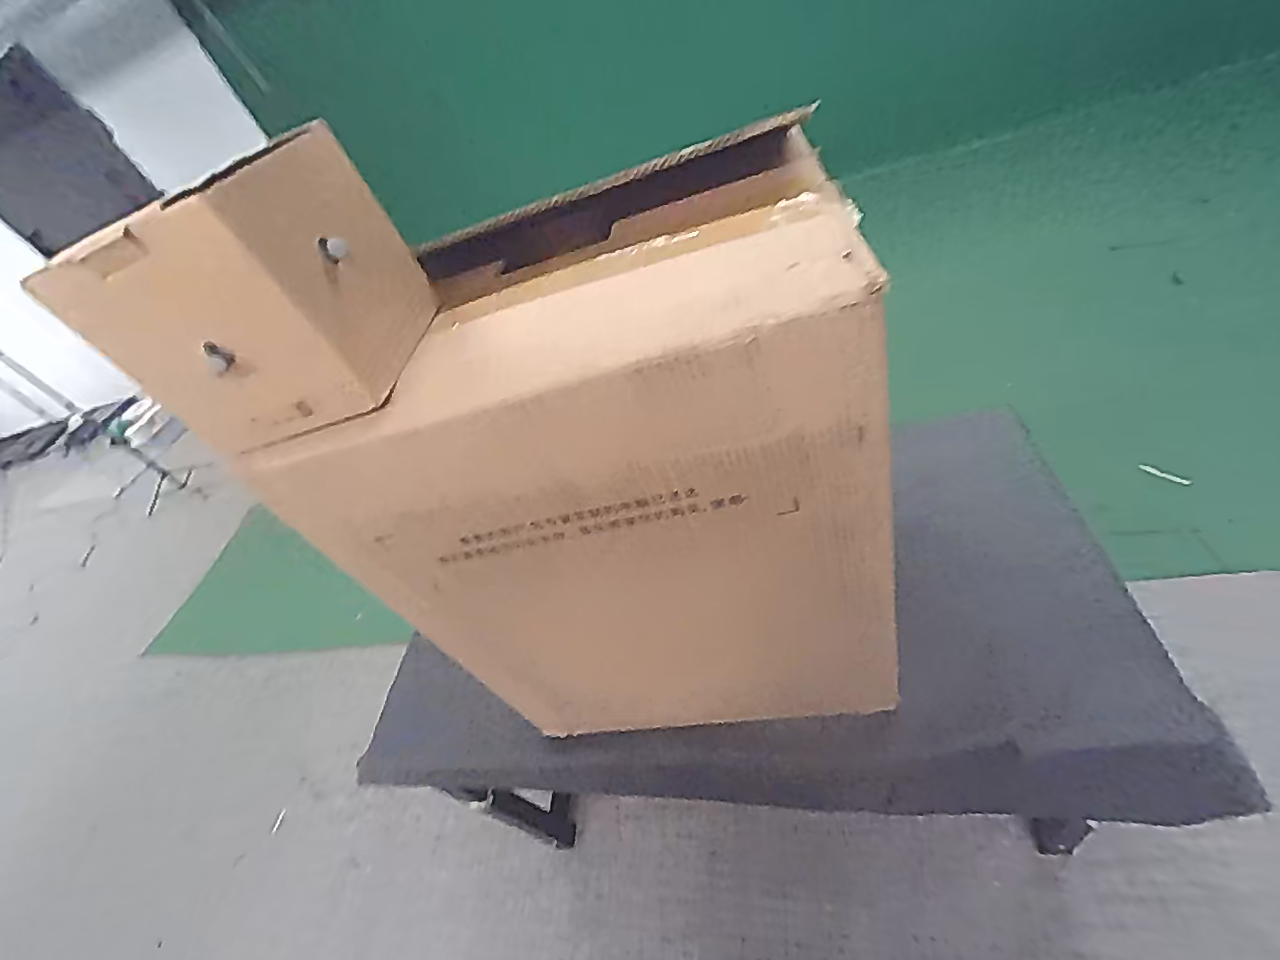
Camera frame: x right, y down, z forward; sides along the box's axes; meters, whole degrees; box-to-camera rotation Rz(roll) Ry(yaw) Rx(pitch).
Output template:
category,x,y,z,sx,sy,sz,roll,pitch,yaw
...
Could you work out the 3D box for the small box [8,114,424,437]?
category,x,y,z,sx,sy,sz,roll,pitch,yaw
small box,-0.310,-0.154,0.444,0.168,0.176,0.179,-14,44,15
